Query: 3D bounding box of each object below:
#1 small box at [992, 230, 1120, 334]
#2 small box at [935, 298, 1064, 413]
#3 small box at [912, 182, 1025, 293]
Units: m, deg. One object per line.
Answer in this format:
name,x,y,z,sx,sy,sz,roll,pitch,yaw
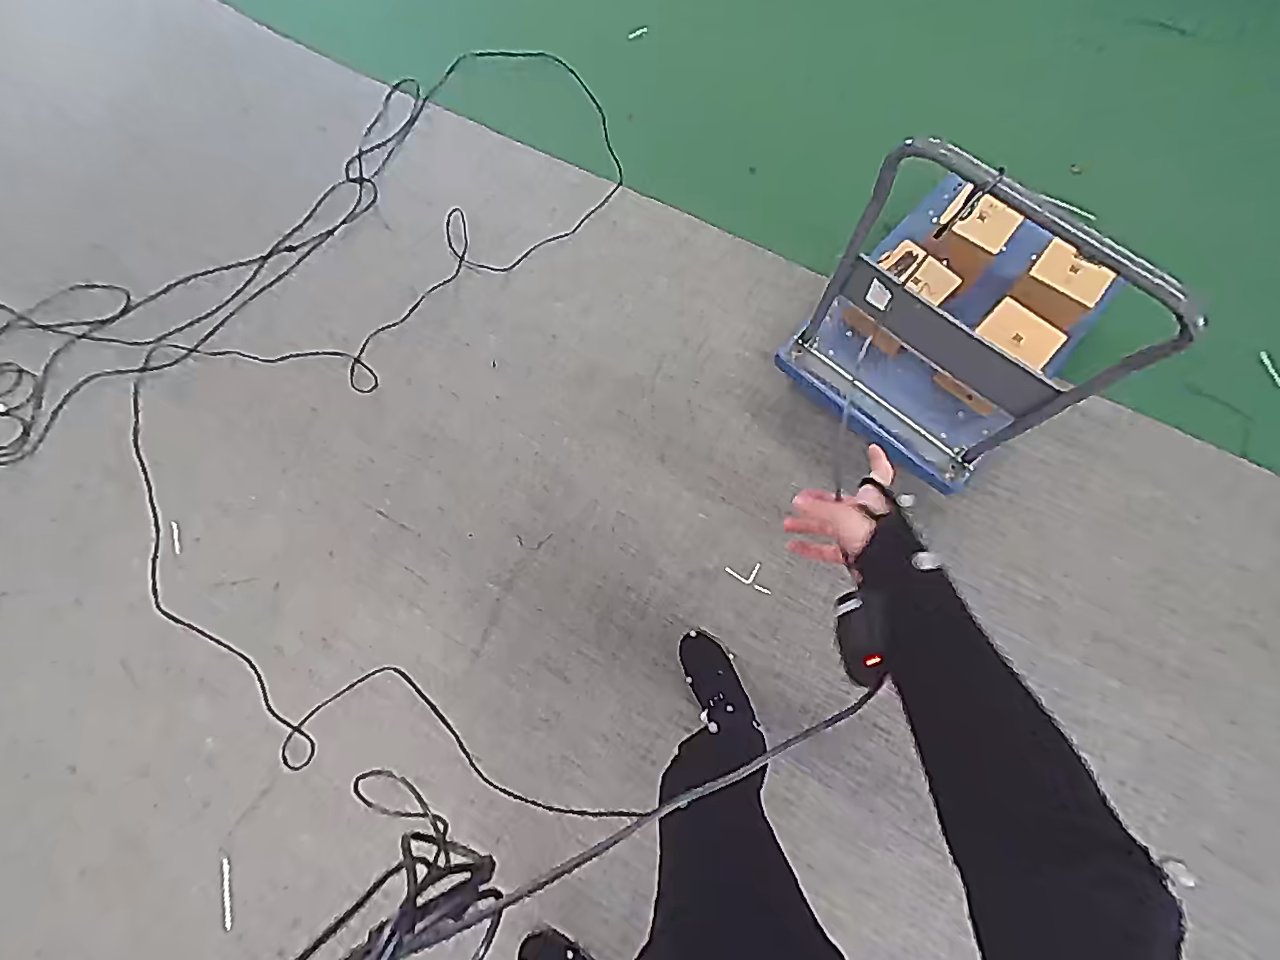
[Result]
small box,1.058,-0.490,1.391,0.168,0.176,0.179,38,77,13
small box,0.873,-0.301,1.334,0.168,0.176,0.179,42,78,13
small box,0.863,-0.640,1.444,0.168,0.176,0.179,38,76,11
